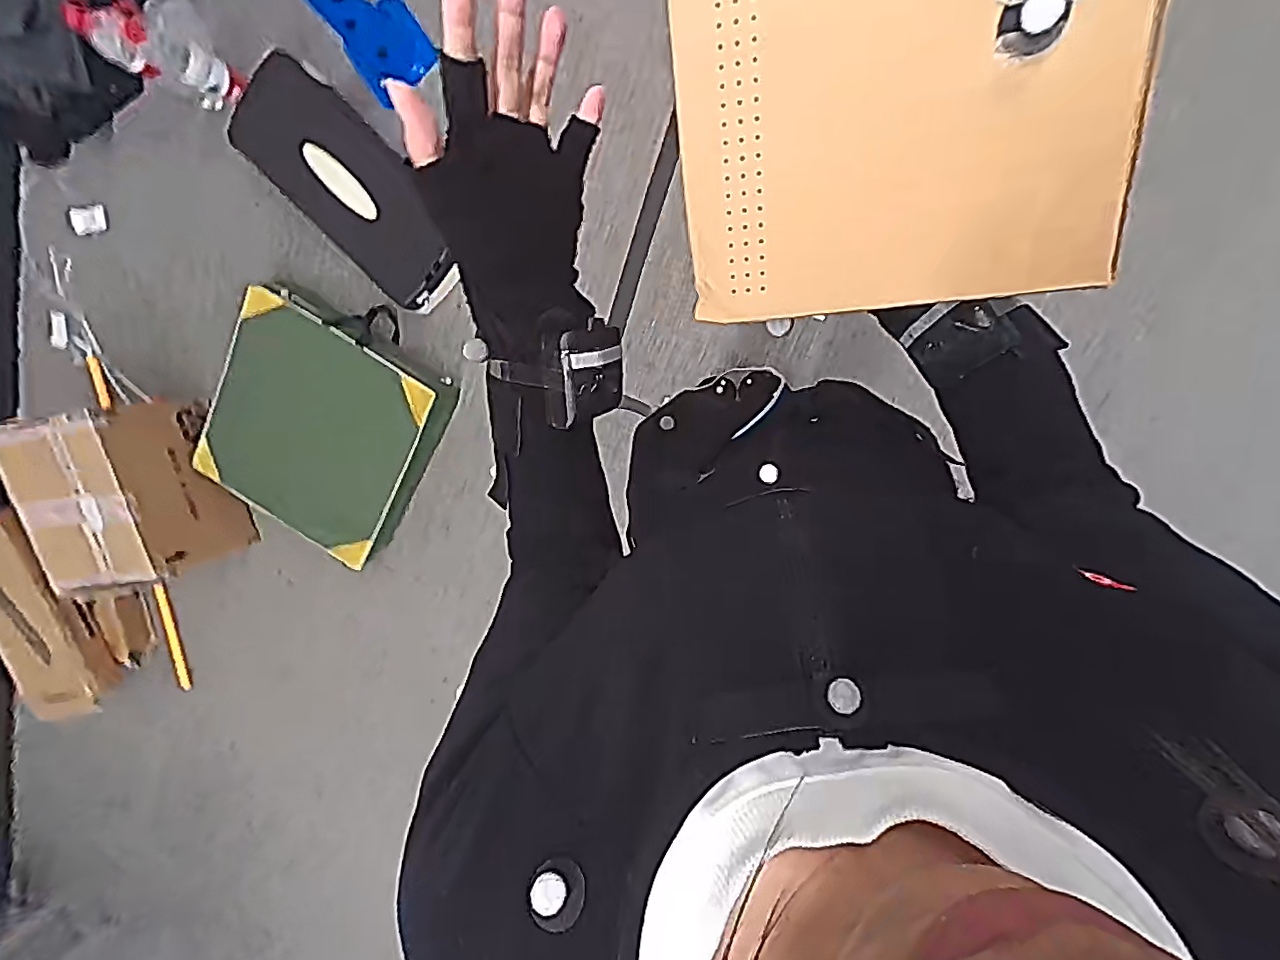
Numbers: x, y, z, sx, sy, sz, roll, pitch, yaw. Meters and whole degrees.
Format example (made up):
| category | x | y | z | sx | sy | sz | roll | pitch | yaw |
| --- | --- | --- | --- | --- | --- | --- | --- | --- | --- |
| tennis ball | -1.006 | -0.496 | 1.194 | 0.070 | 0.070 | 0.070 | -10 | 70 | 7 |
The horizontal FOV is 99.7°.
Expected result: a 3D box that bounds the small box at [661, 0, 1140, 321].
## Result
| category | x | y | z | sx | sy | sz | roll | pitch | yaw |
| --- | --- | --- | --- | --- | --- | --- | --- | --- | --- |
| small box | 0.108 | -0.189 | 0.281 | 0.176 | 0.168 | 0.179 | -1 | 113 | 14 |
